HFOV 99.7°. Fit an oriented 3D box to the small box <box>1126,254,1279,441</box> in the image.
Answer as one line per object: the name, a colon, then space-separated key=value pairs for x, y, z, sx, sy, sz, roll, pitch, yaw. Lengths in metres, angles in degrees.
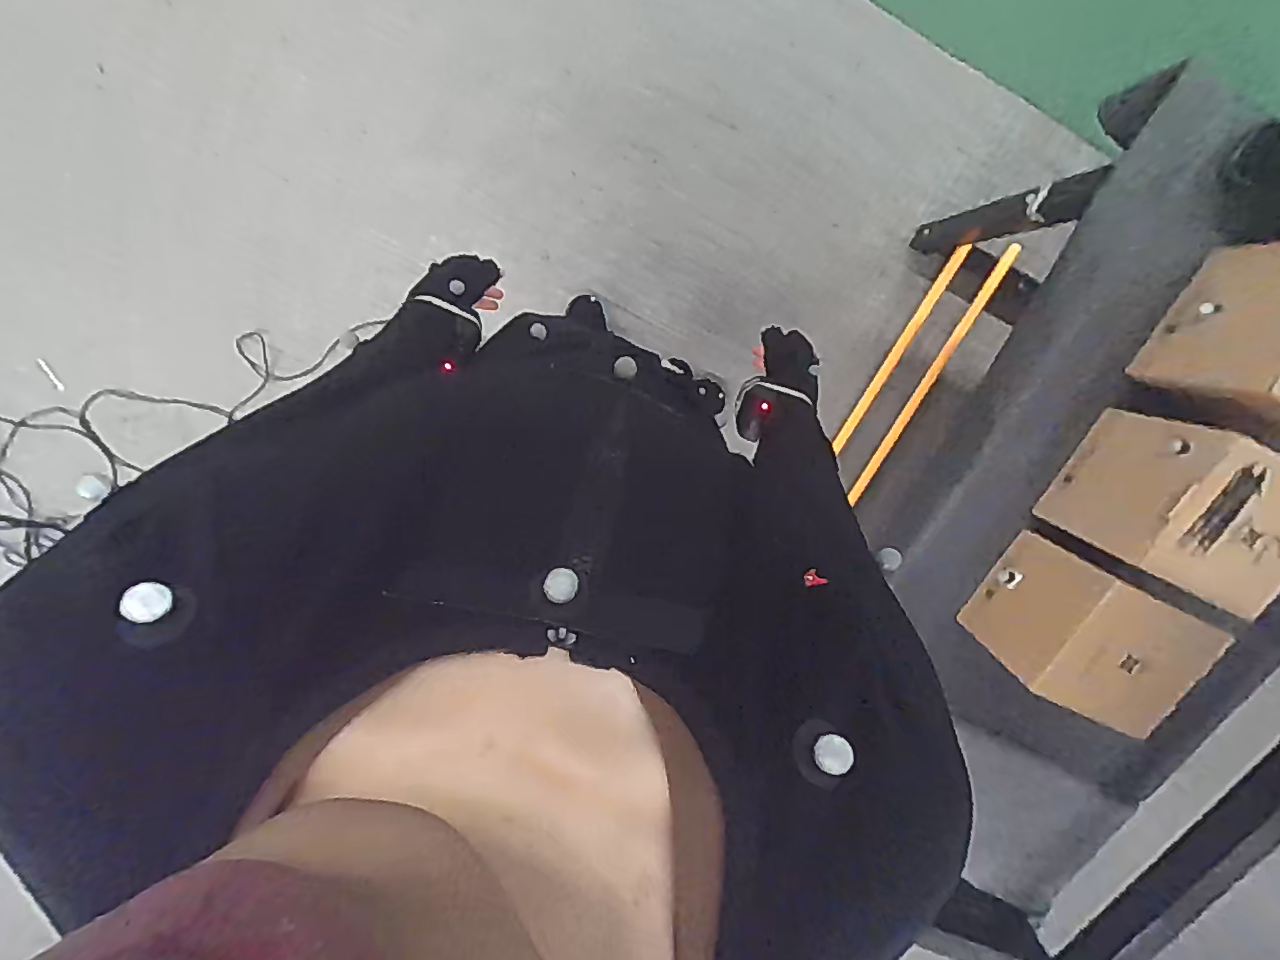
small box: x=0.736 y=-0.148 z=0.616 sx=0.179 sy=0.176 sz=0.168 roll=24 pitch=105 yaw=-7
